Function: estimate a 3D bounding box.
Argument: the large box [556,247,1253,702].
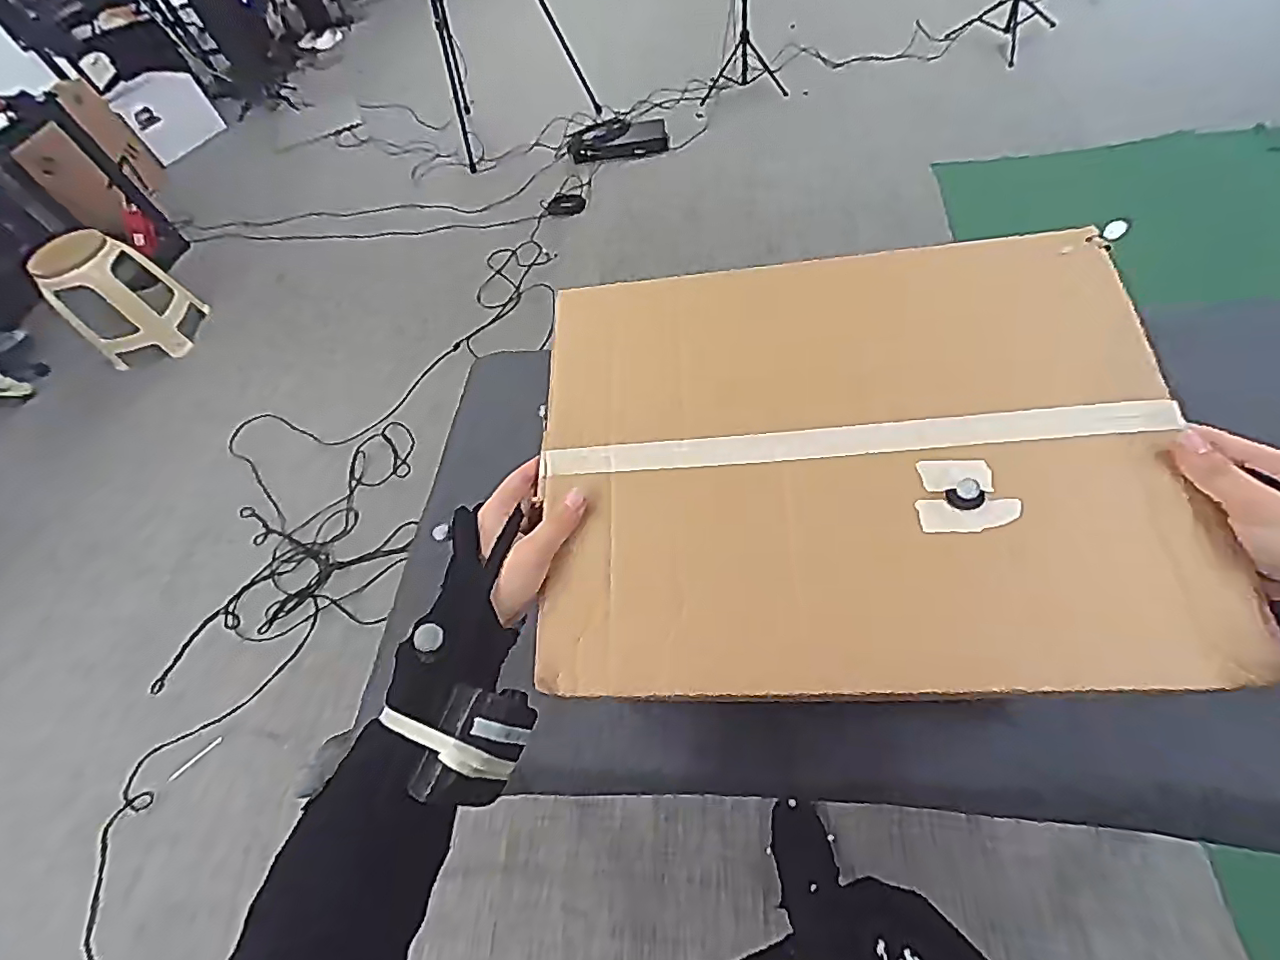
[{"bbox_3d":[0.156,0.035,0.510,0.408,0.320,0.320,-4,68,7],"label":"large box"}]
